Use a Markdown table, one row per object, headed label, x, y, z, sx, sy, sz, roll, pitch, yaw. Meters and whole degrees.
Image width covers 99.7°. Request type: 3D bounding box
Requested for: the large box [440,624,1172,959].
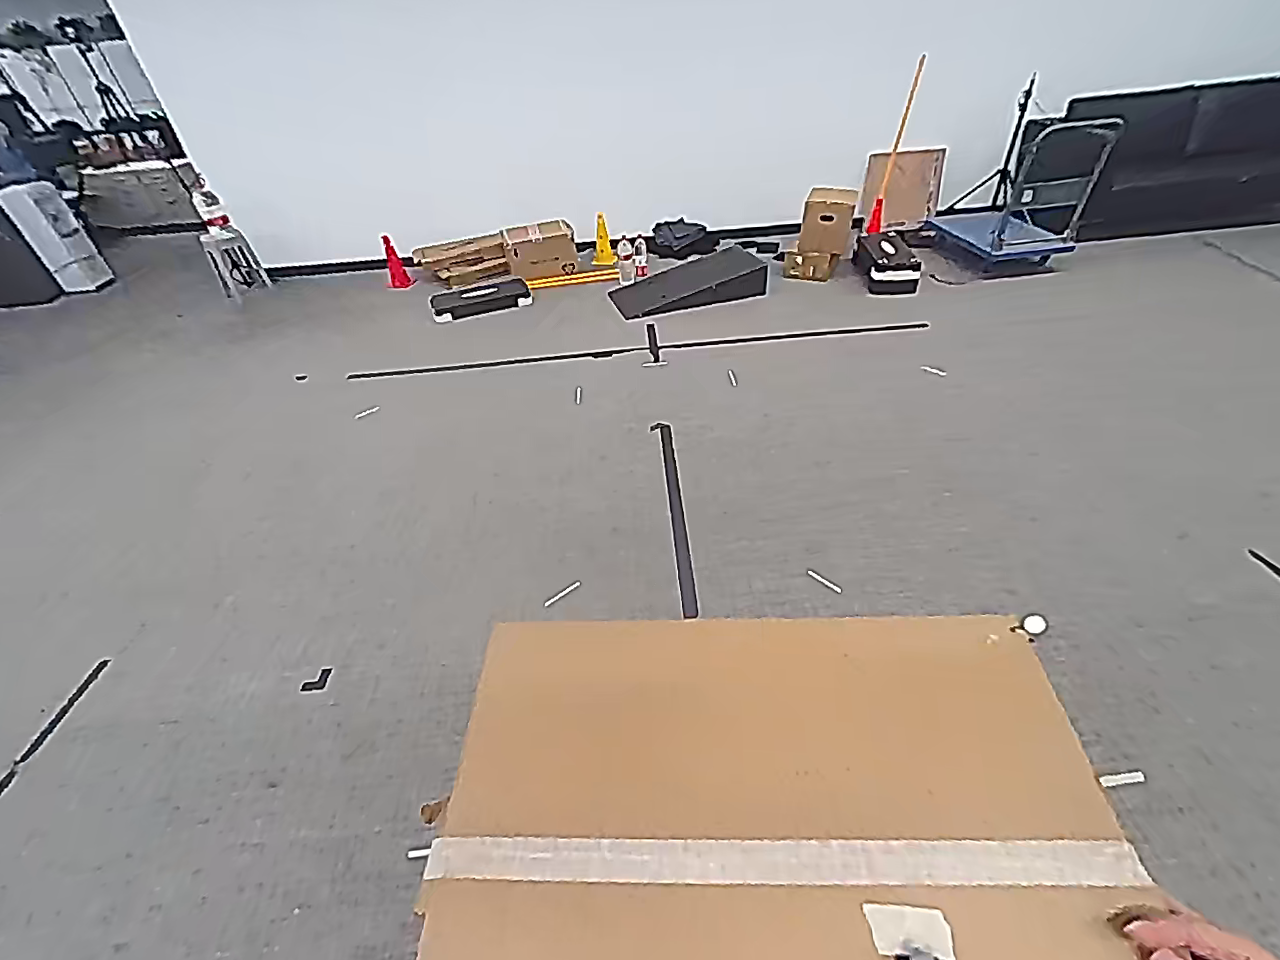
| label | x | y | z | sx | sy | sz | roll | pitch | yaw |
| --- | --- | --- | --- | --- | --- | --- | --- | --- | --- |
| large box | 0.092 | 0.334 | 0.432 | 0.408 | 0.320 | 0.320 | -2 | 48 | 3 |
